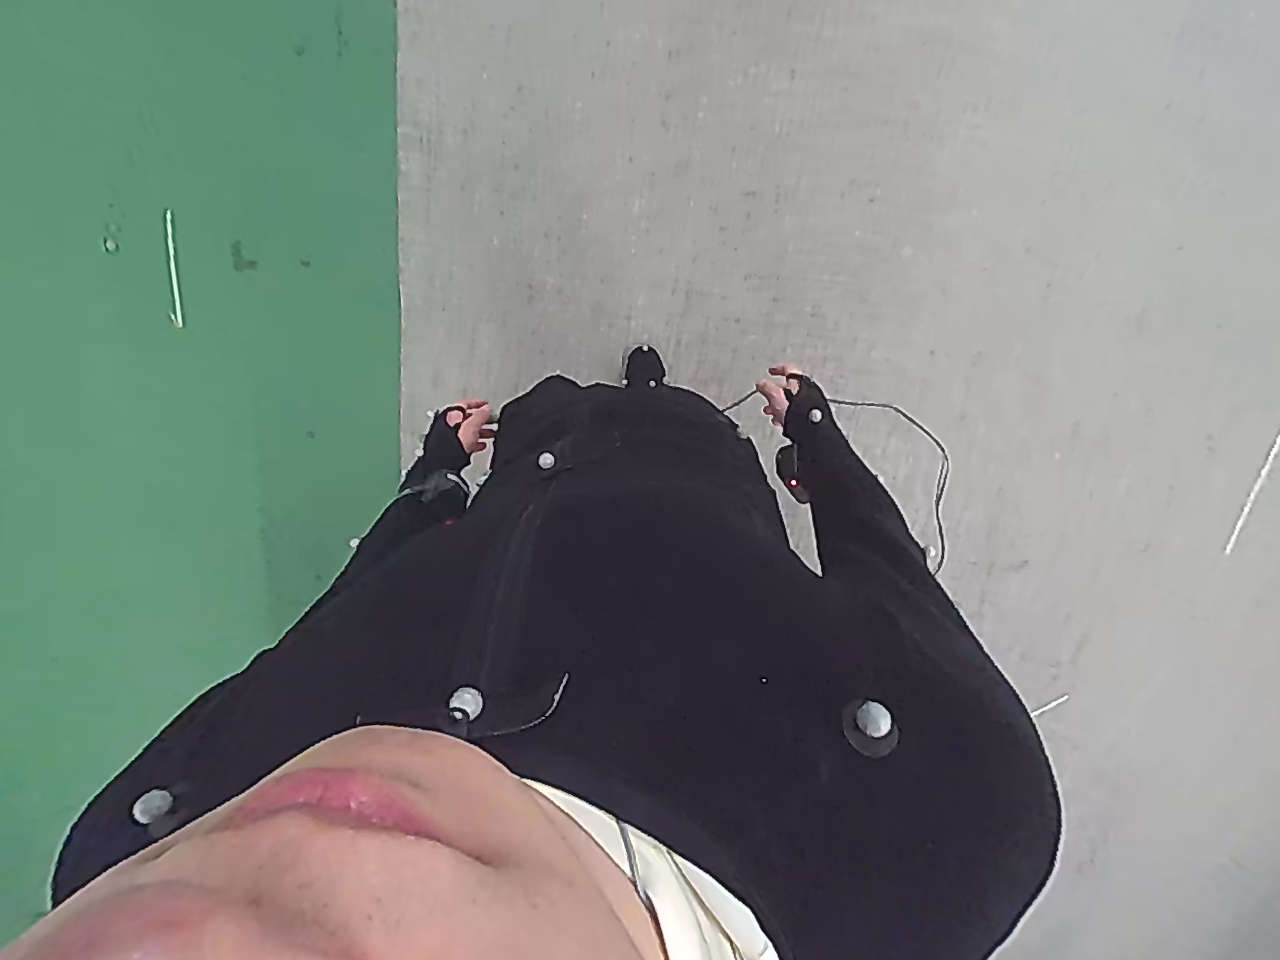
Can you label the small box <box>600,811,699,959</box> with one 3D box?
[{"bbox_3d":[0.018,0.778,1.041,0.168,0.176,0.179,6,108,2],"label":"small box"}]
